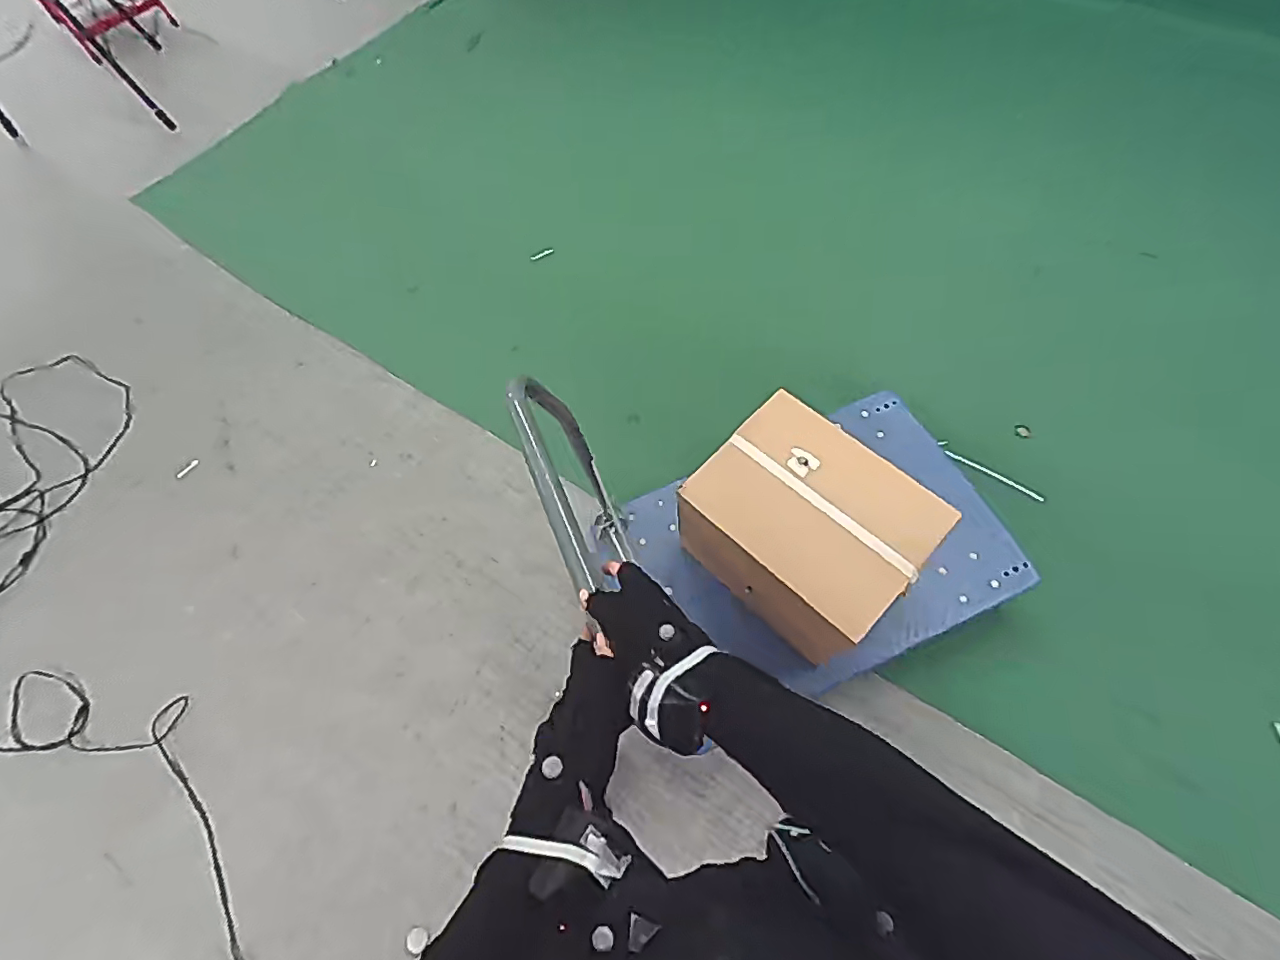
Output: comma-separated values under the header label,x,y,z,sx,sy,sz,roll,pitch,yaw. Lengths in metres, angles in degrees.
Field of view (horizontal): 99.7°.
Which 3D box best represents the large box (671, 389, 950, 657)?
label,x,y,z,sx,sy,sz,roll,pitch,yaw
large box,0.319,0.098,1.120,0.320,0.320,0.408,-42,67,-14
